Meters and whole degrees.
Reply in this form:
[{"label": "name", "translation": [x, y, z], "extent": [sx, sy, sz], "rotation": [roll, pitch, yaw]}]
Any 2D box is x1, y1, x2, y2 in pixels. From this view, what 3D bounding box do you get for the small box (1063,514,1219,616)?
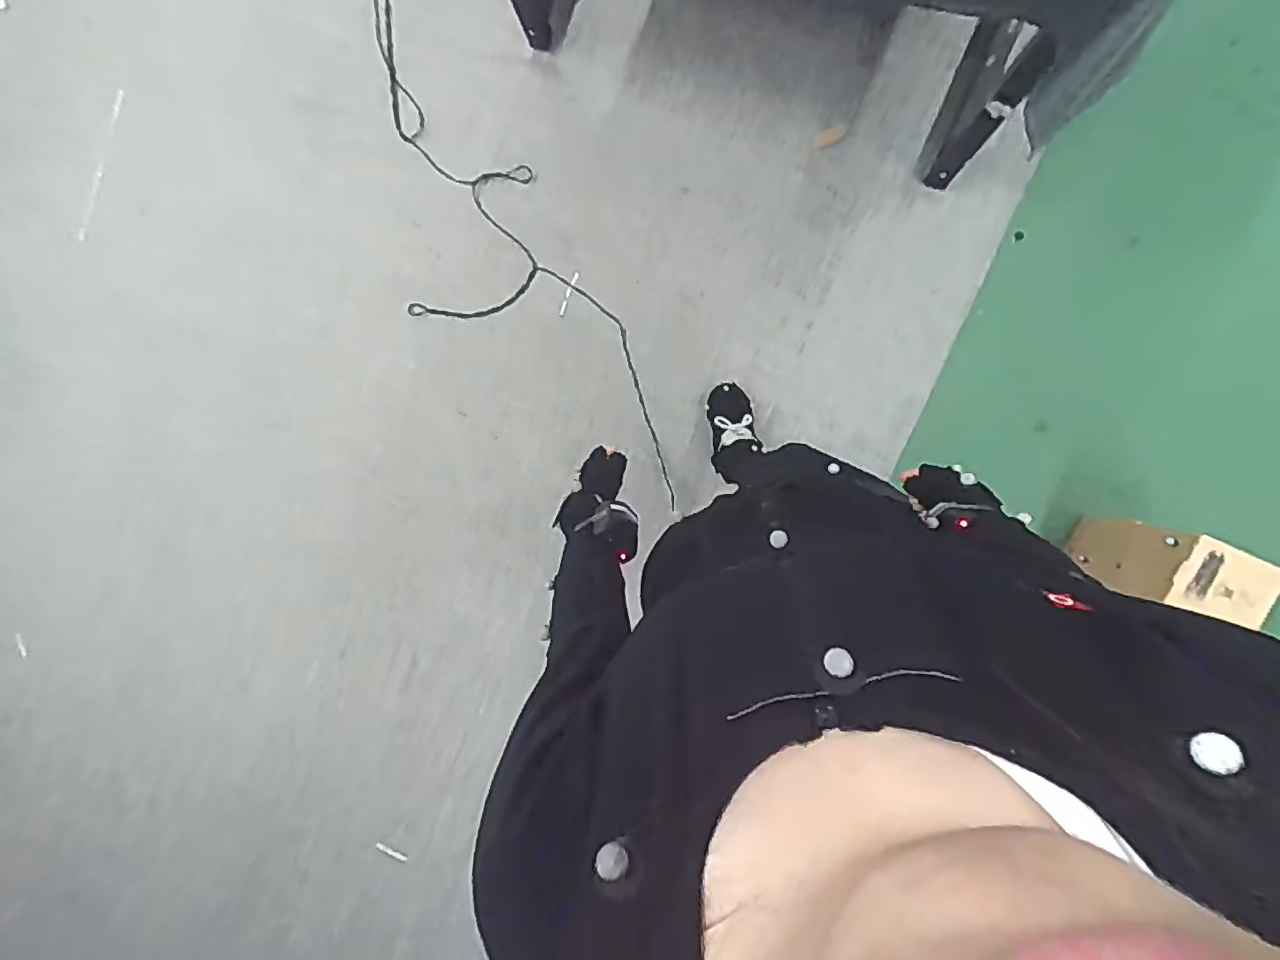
[{"label": "small box", "translation": [1.164, 0.191, 1.276], "extent": [0.179, 0.176, 0.168], "rotation": [28, 96, 6]}]
